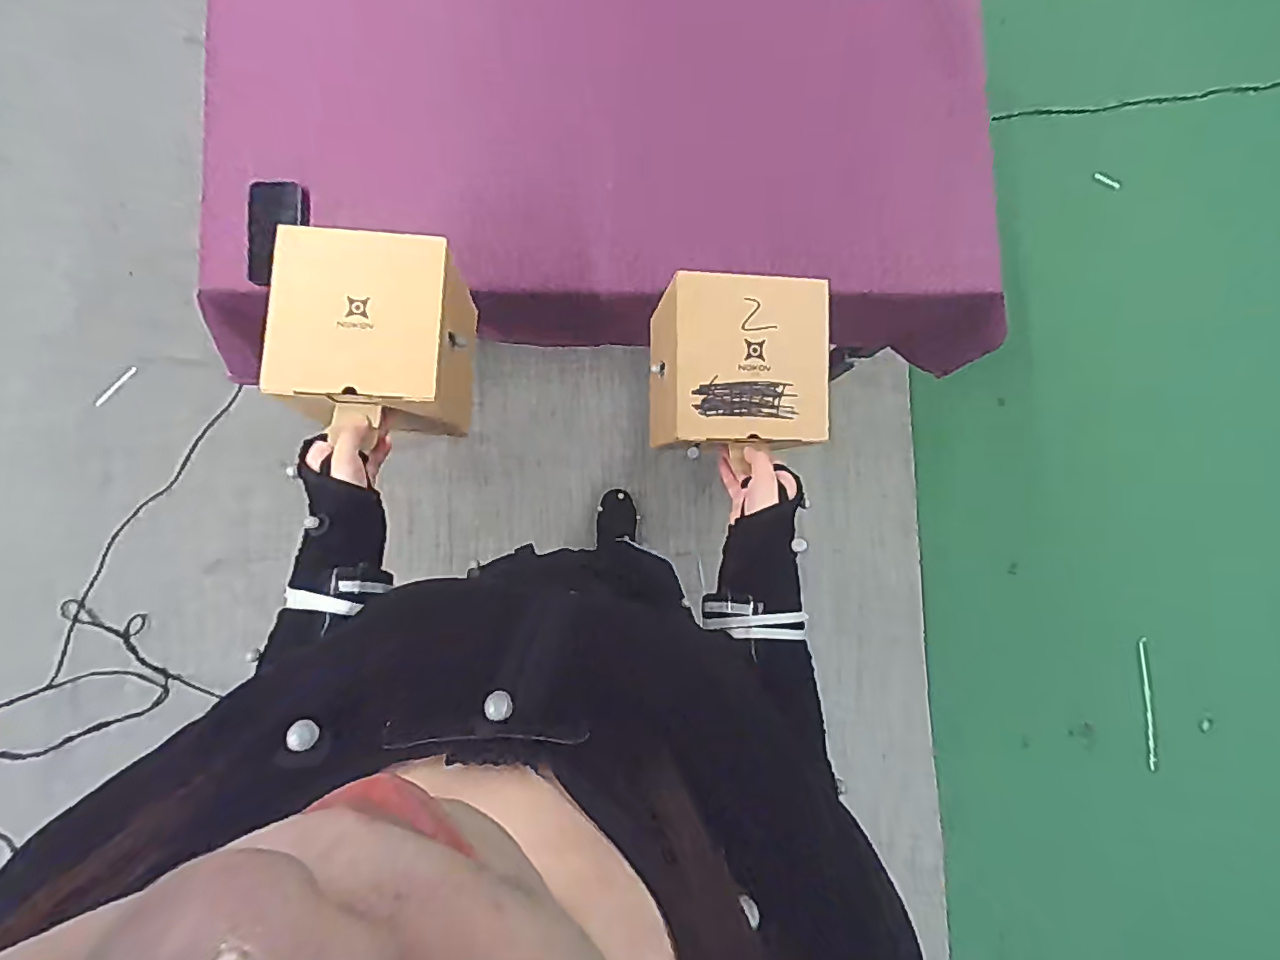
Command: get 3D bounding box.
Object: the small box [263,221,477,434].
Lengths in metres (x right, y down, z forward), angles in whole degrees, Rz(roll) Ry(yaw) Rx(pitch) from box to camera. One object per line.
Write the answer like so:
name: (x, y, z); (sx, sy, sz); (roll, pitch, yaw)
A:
small box: (-0.286, -0.159, 0.615); (0.168, 0.176, 0.179); (3, 83, -7)
